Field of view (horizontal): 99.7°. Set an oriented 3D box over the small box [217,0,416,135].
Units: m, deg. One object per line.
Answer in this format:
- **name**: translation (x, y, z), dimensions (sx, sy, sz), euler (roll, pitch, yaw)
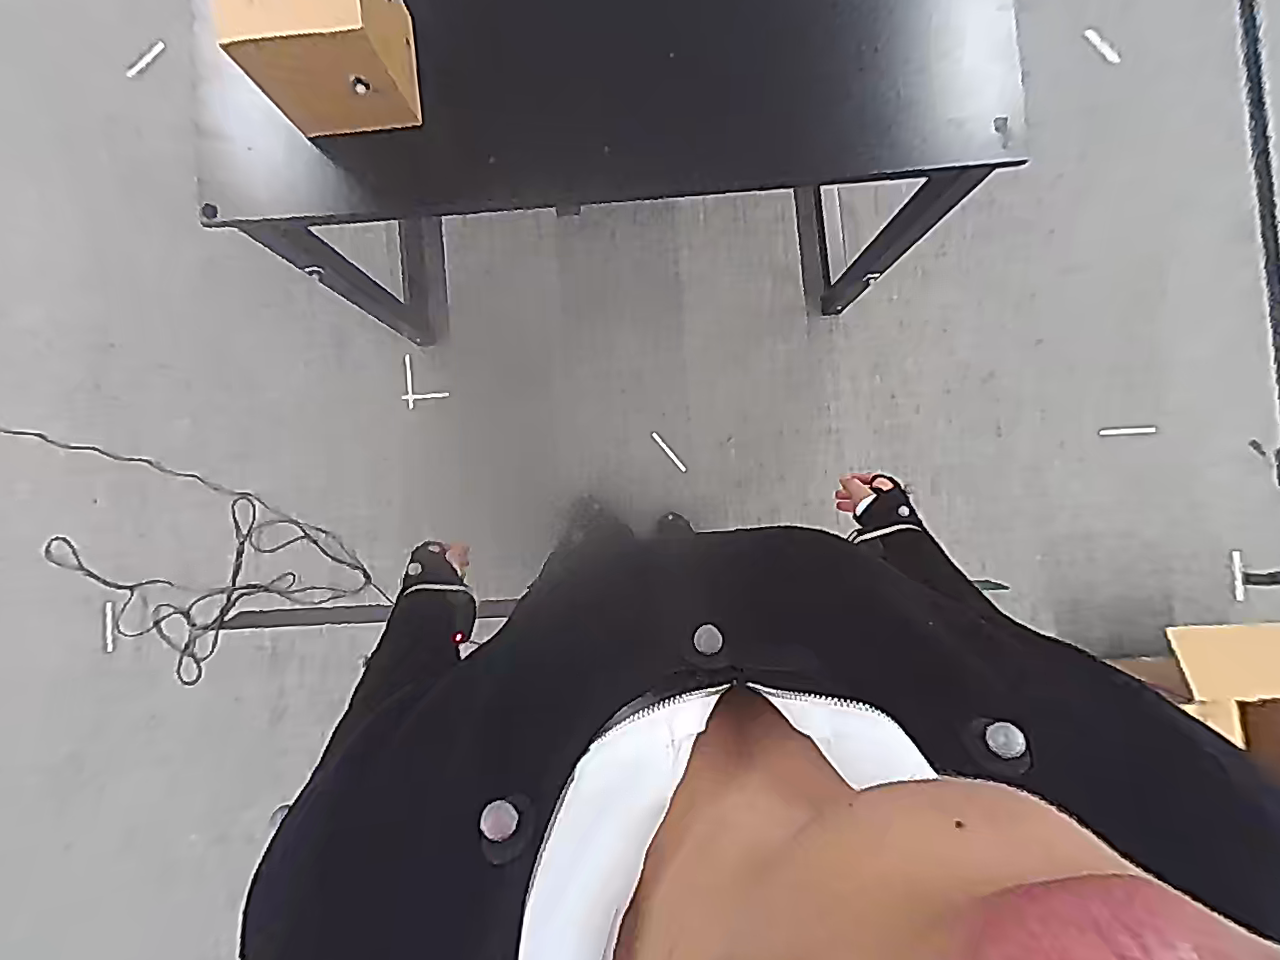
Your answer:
- **small box**: translation (-0.413, -0.595, 0.714), dimensions (0.179, 0.176, 0.168), euler (-7, 88, 1)
